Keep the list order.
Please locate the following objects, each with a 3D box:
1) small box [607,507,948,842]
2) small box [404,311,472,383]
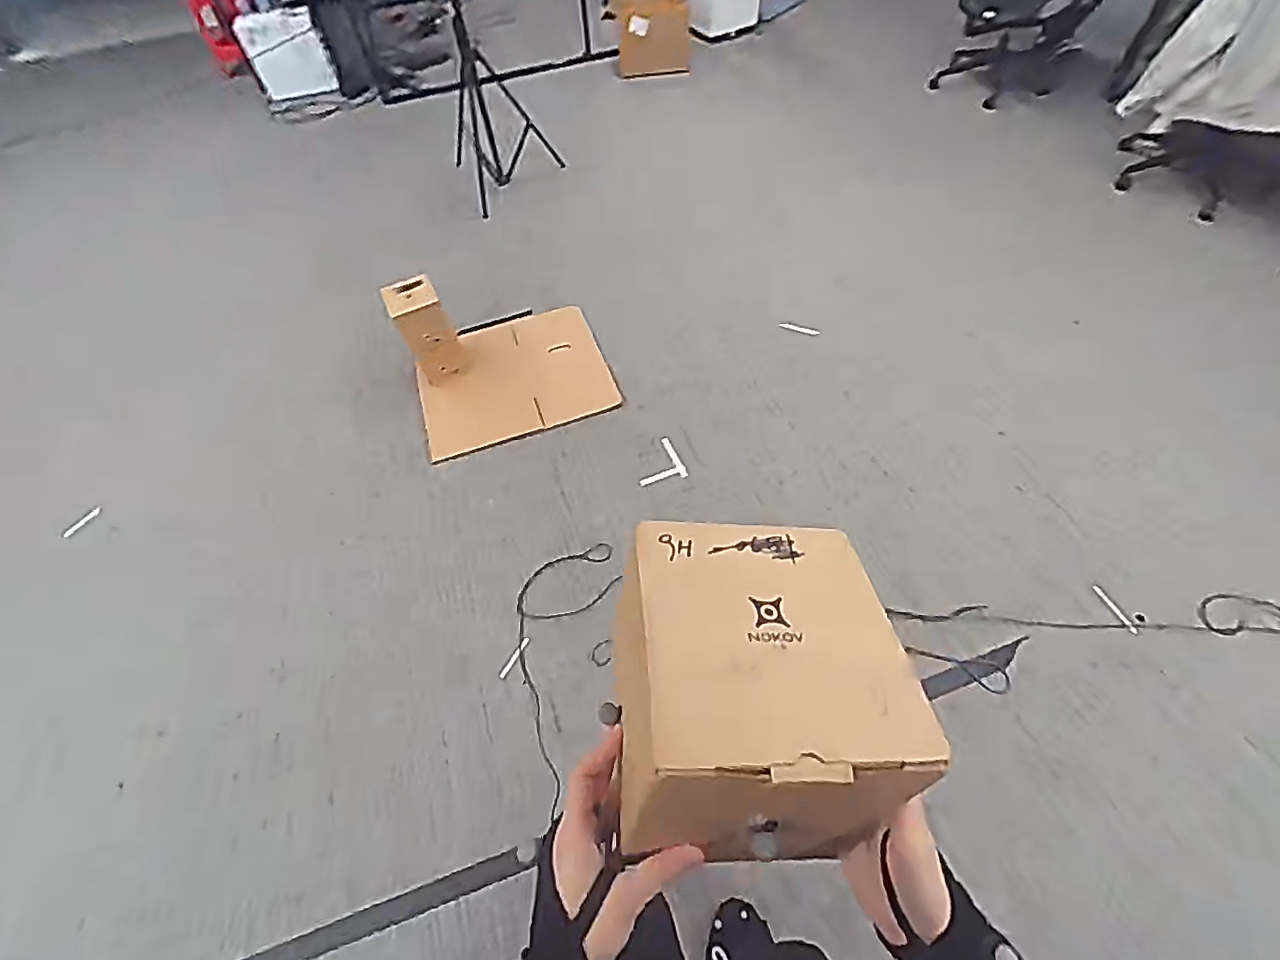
[{"bbox_3d":[0.069,0.142,0.390,0.168,0.176,0.179,4,42,-10],"label":"small box"},{"bbox_3d":[-0.758,-0.499,2.040,0.168,0.176,0.179,-27,58,-13],"label":"small box"}]
